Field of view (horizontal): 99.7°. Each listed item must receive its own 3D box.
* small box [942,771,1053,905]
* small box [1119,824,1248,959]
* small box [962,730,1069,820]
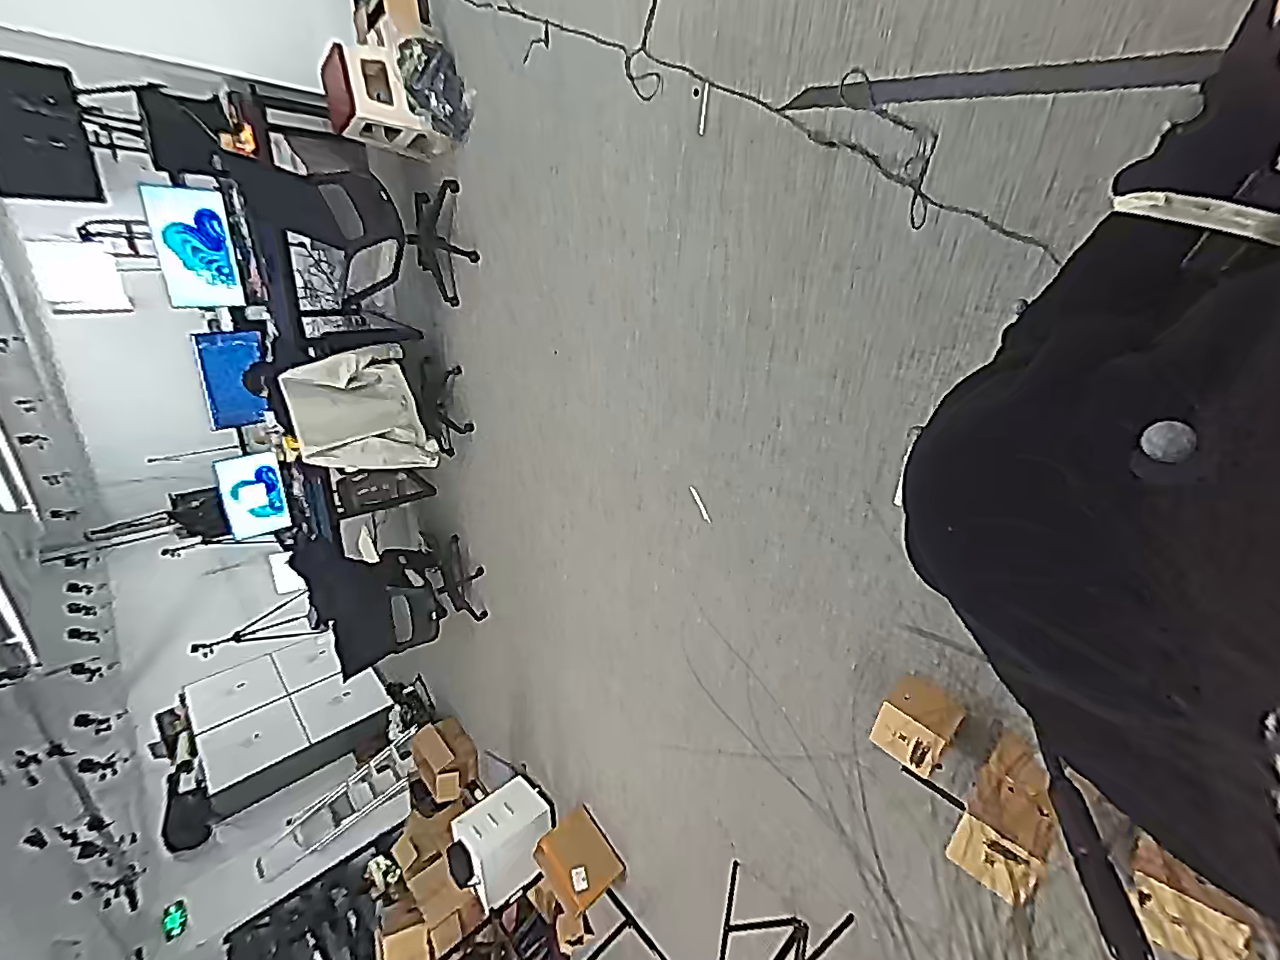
[{"bbox_3d":[0.870,0.857,1.312,0.168,0.176,0.179,27,124,39],"label":"small box"},{"bbox_3d":[1.215,0.930,1.215,0.179,0.176,0.168,12,113,44],"label":"small box"},{"bbox_3d":[0.986,0.806,1.417,0.168,0.176,0.179,30,124,37],"label":"small box"}]
